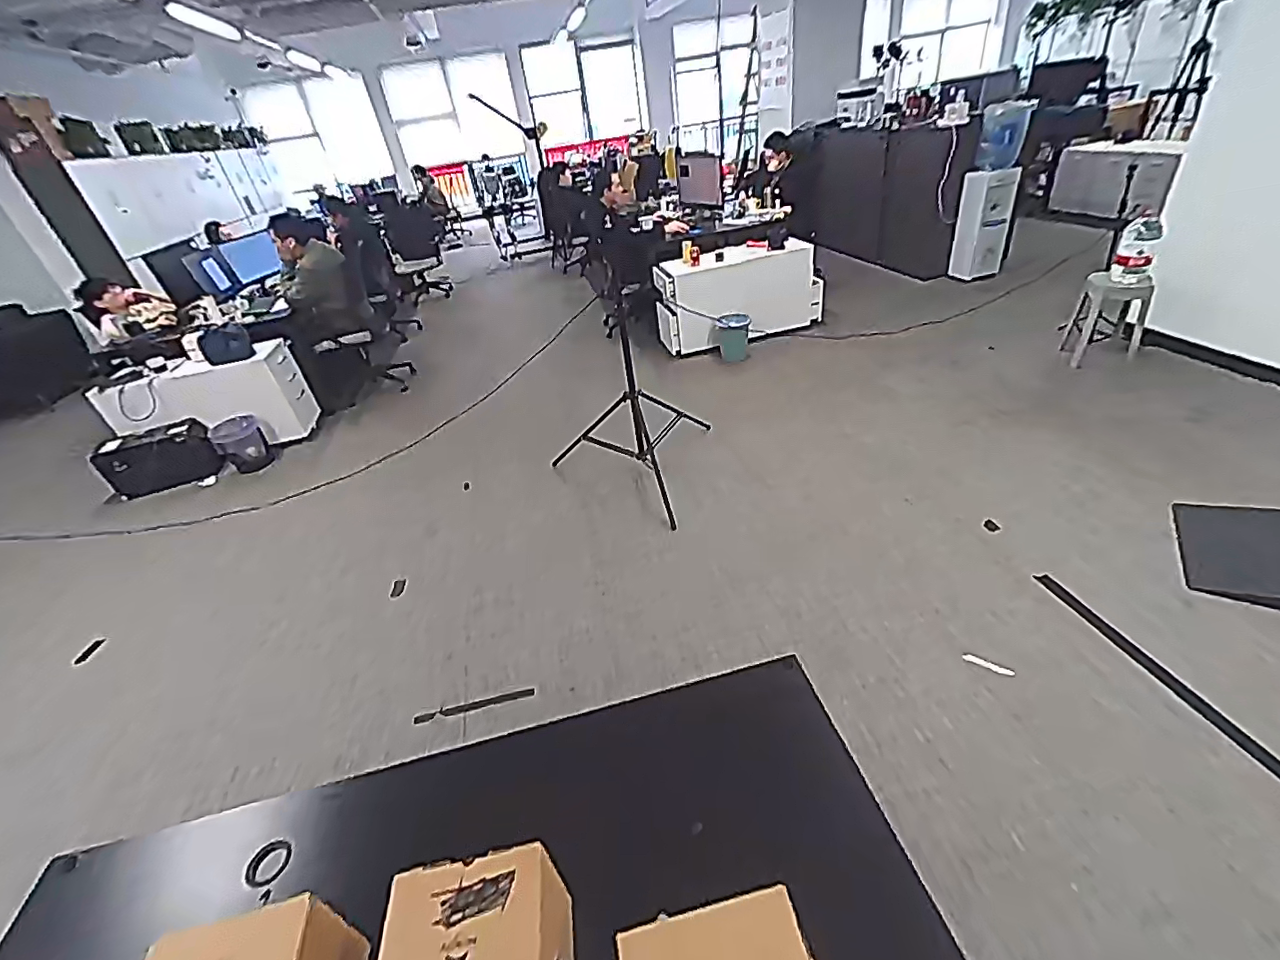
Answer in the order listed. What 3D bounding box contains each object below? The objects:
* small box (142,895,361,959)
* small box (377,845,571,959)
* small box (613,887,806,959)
[{"bbox_3d":[-0.413,0.583,0.557,0.168,0.176,0.179,-13,33,-7],"label":"small box"},{"bbox_3d":[-0.169,0.533,0.573,0.168,0.176,0.179,-11,35,-3],"label":"small box"},{"bbox_3d":[0.083,0.534,0.512,0.179,0.176,0.168,-13,34,-5],"label":"small box"}]
